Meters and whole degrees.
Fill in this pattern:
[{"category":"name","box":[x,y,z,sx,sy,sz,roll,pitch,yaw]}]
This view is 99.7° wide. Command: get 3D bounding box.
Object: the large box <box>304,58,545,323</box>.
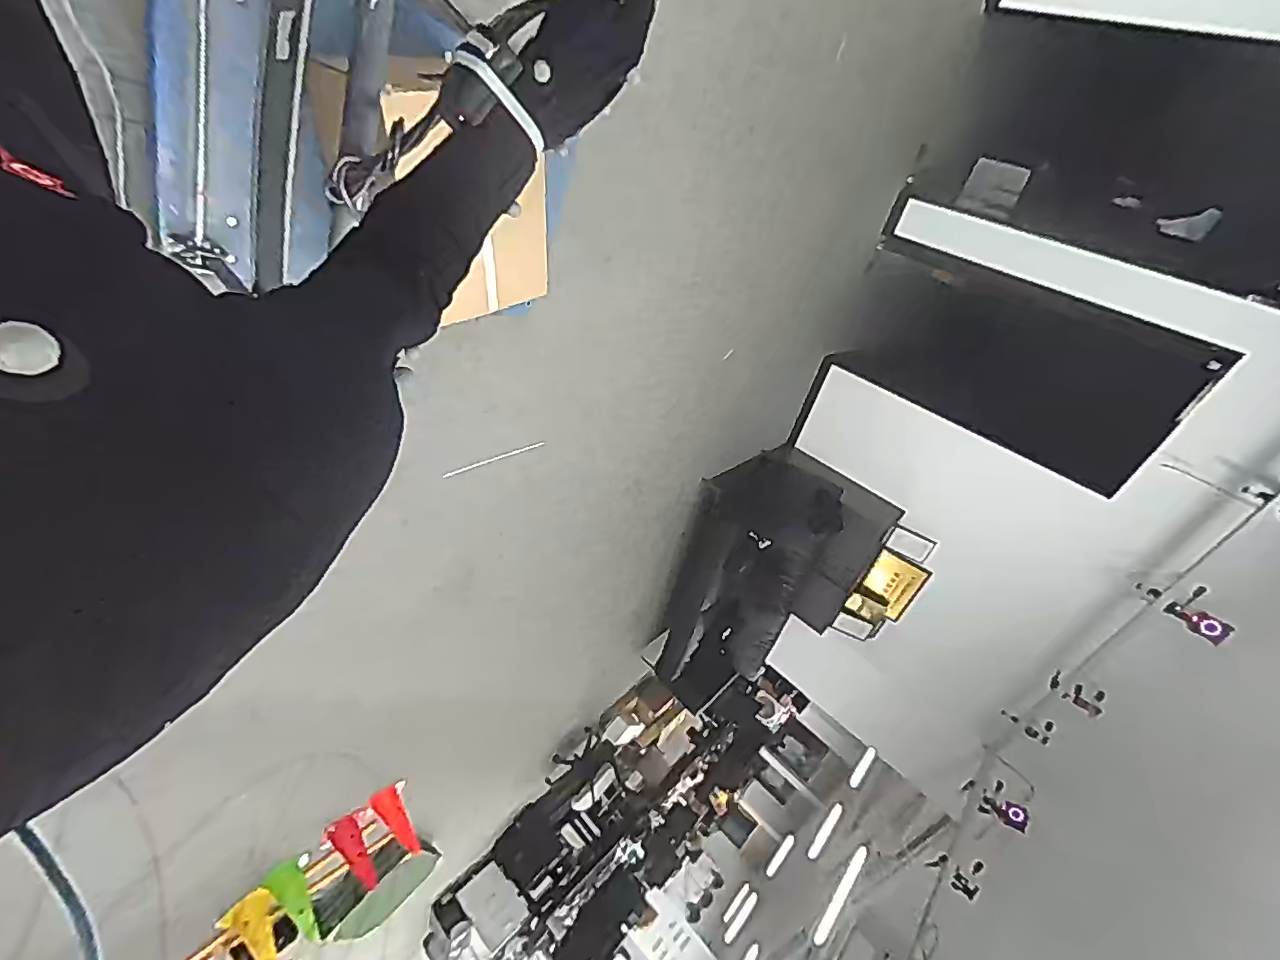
[{"category":"large box","box":[-0.420,-0.603,1.122,0.320,0.320,0.408,-32,144,-34]}]
